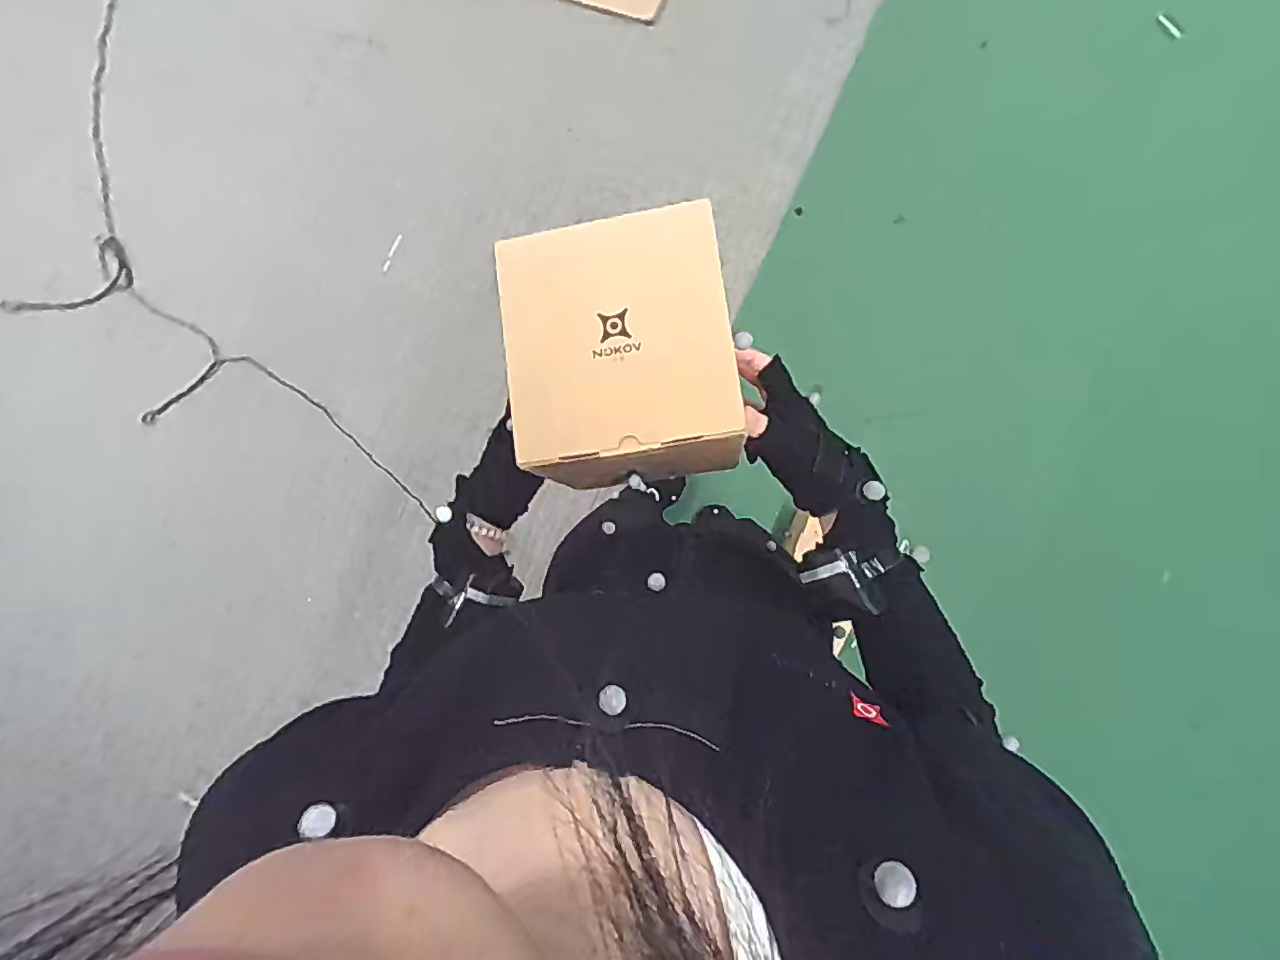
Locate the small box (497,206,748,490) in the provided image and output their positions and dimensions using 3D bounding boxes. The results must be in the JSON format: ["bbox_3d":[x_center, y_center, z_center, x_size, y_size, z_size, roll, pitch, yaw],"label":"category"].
[{"bbox_3d":[-0.008,-0.095,0.470,0.168,0.176,0.179,-10,83,6],"label":"small box"}]
